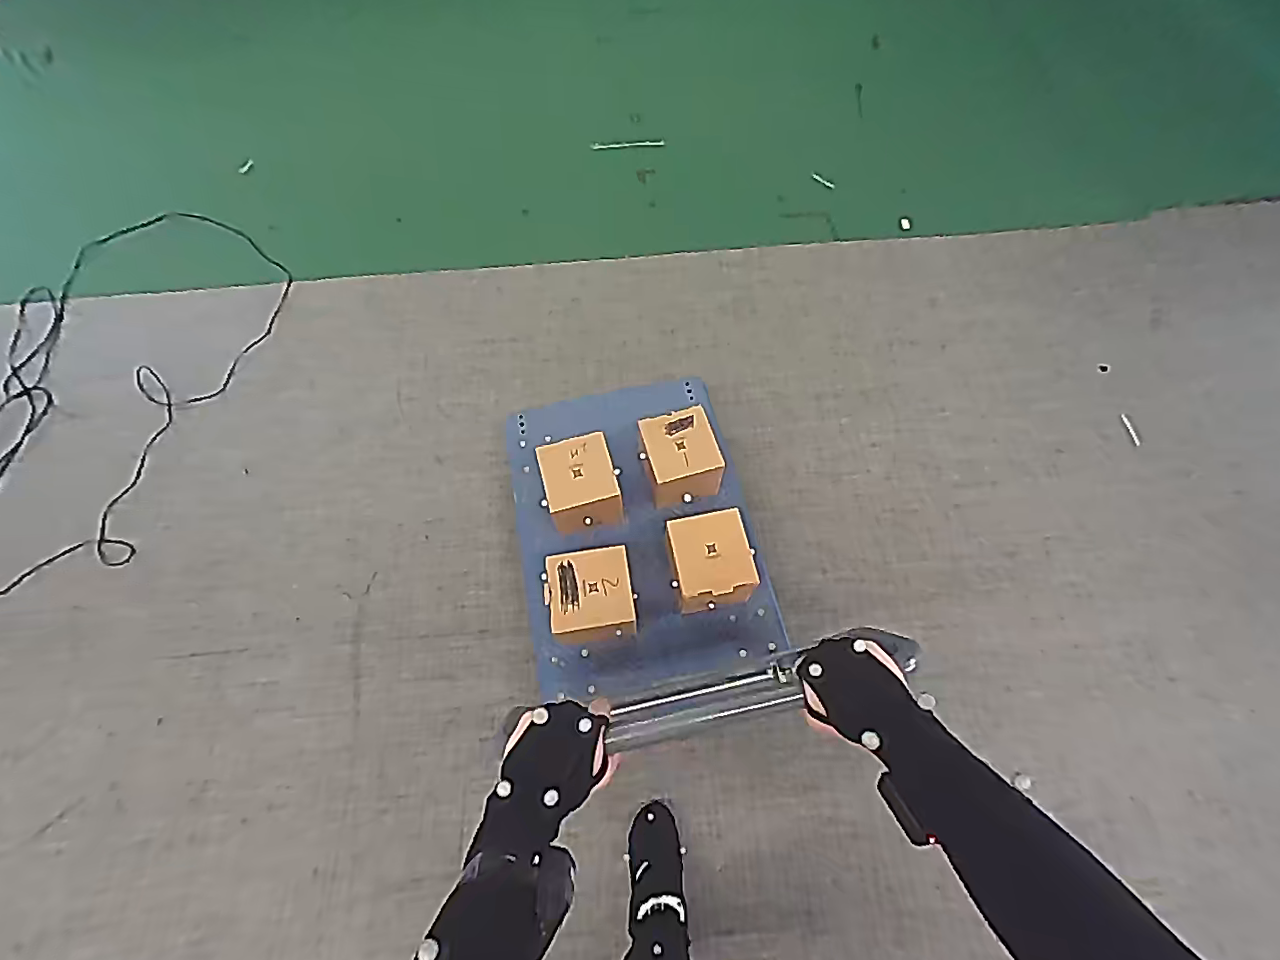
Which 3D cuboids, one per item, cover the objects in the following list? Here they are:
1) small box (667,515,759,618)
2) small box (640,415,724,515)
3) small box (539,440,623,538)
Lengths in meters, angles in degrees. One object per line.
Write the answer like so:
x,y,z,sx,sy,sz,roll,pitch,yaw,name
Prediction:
0.159,0.204,1.253,0.168,0.176,0.179,-11,65,-4,small box
0.100,-0.035,1.368,0.168,0.176,0.179,-15,66,-5,small box
-0.141,0.032,1.341,0.168,0.176,0.179,-15,65,-7,small box
